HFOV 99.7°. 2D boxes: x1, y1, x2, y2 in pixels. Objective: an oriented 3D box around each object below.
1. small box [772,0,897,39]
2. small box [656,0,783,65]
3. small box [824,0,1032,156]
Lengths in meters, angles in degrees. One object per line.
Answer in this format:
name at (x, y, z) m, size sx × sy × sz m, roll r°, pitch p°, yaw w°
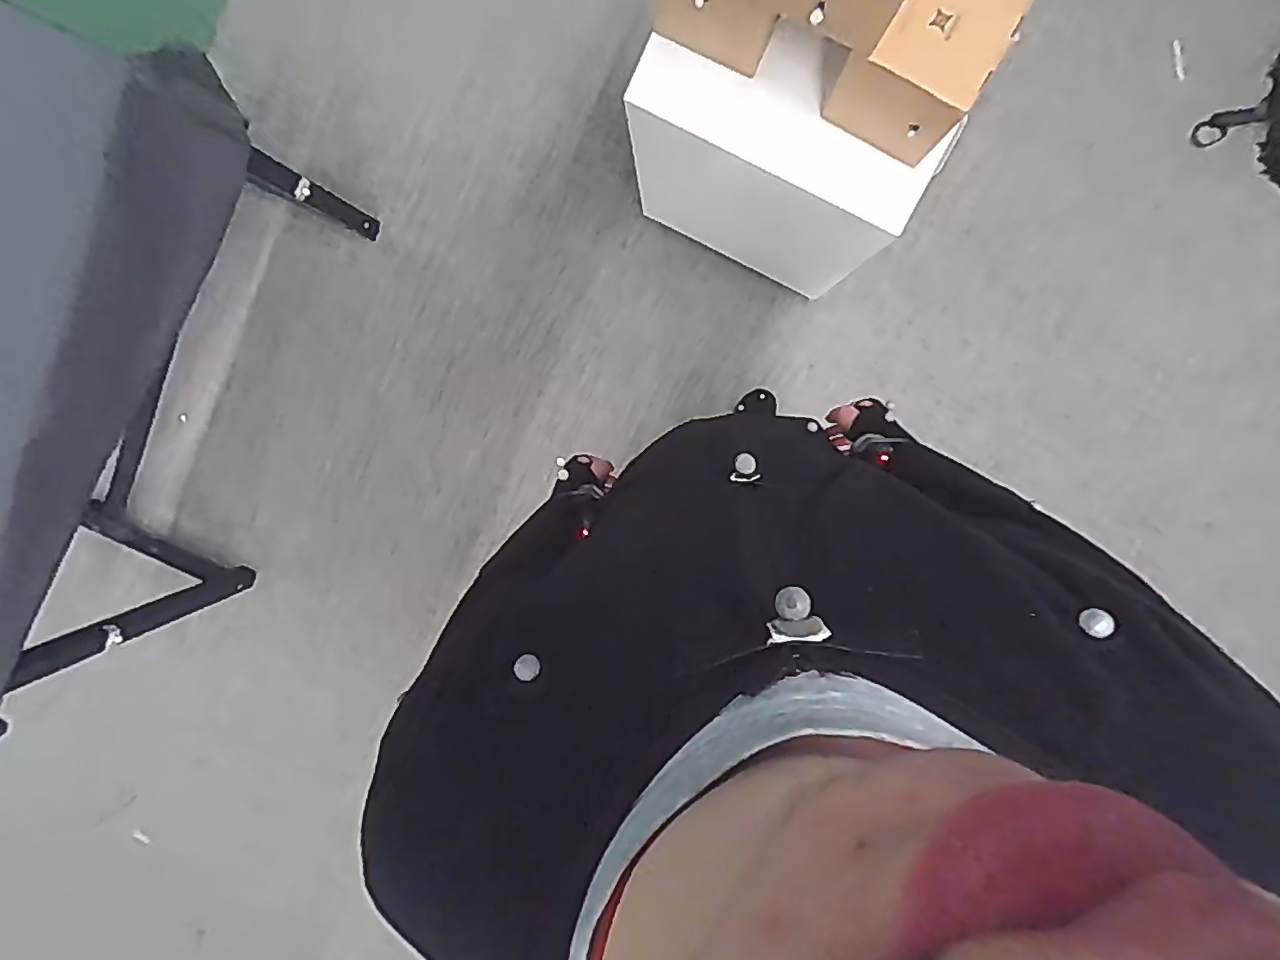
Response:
small box at (0.248, -0.649, 0.603) m, size 0.179 × 0.176 × 0.168 m, roll 24°, pitch 99°, yaw -2°
small box at (0.129, -0.740, 0.760) m, size 0.179 × 0.176 × 0.168 m, roll 25°, pitch 100°, yaw -2°
small box at (0.393, -0.600, 0.767) m, size 0.179 × 0.176 × 0.168 m, roll 28°, pitch 98°, yaw 1°
